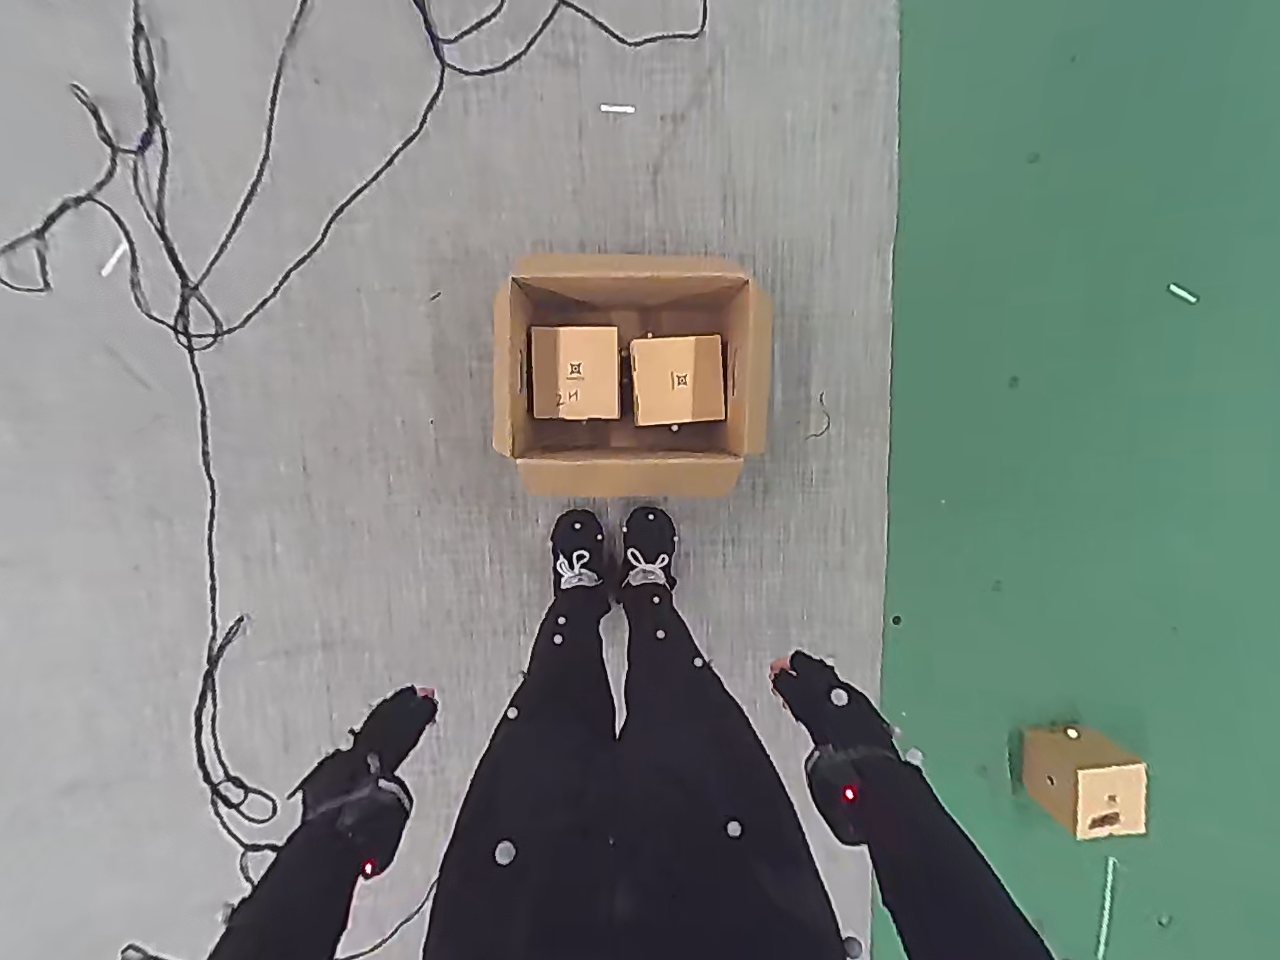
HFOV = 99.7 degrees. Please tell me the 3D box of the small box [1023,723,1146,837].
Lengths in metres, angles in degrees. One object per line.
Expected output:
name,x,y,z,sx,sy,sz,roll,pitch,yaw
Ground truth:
small box,1.067,0.721,1.312,0.168,0.176,0.179,-4,97,-3
